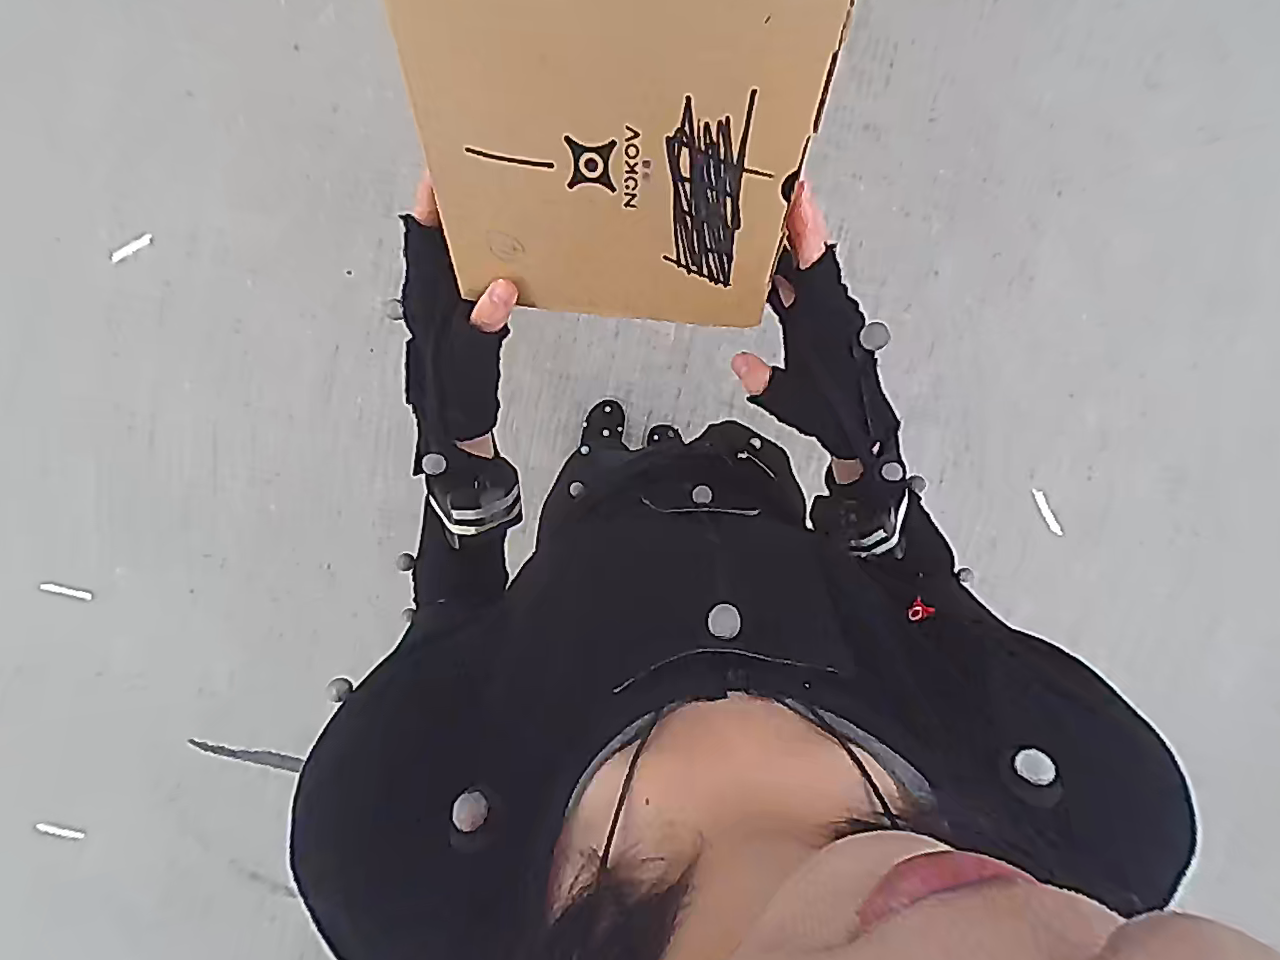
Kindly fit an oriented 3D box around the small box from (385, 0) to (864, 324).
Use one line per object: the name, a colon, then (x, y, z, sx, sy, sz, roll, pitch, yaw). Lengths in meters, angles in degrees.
small box: (-0.005, -0.208, 0.285, 0.179, 0.168, 0.176, 6, 55, 1)
